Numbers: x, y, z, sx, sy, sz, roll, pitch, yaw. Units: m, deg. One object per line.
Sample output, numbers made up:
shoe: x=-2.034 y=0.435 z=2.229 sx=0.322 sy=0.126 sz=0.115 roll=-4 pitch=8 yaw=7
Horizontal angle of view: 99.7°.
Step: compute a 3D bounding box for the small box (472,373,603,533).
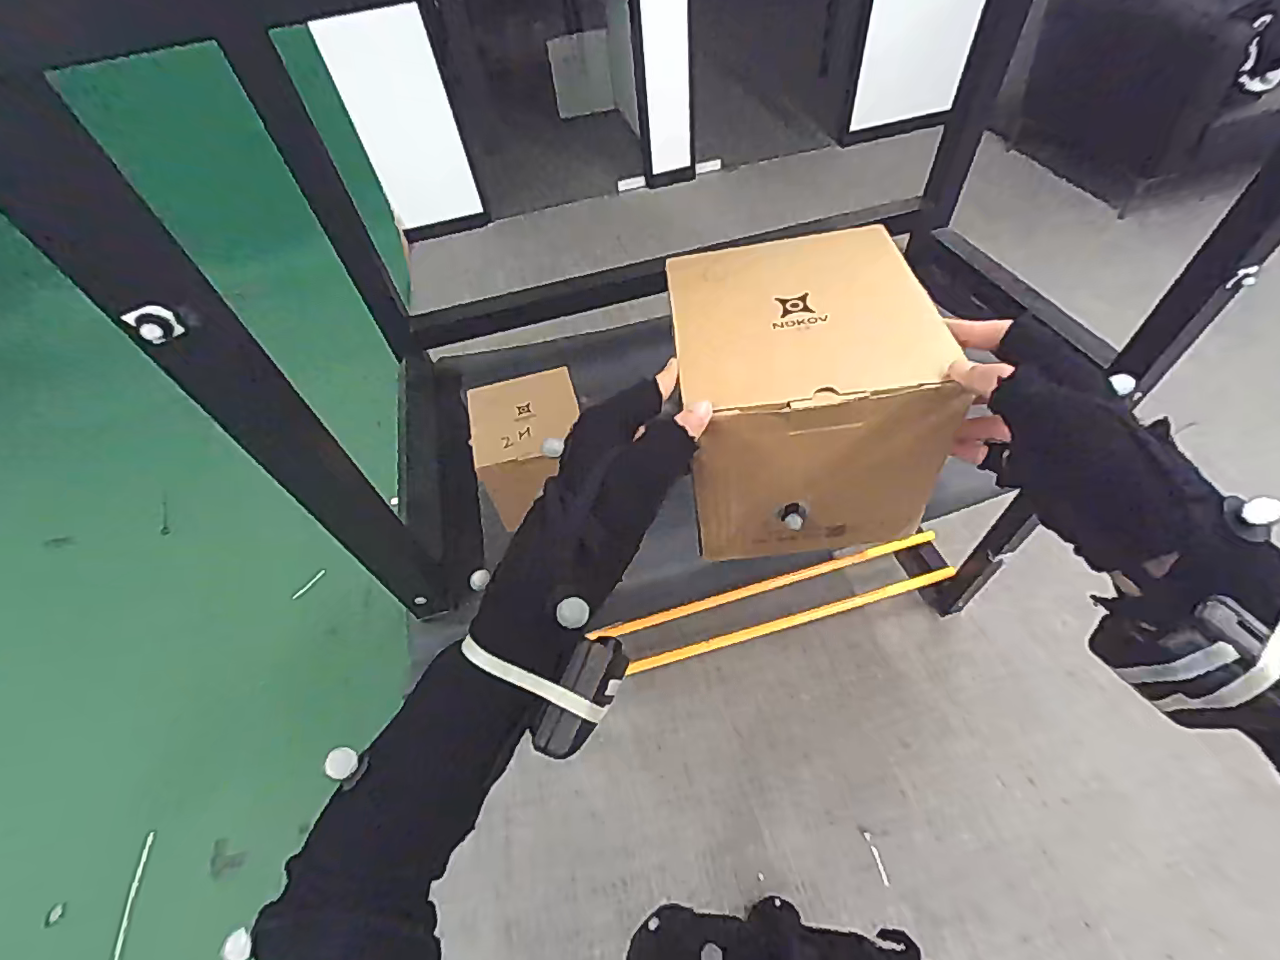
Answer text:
small box: x=-0.165 y=-0.042 z=0.883 sx=0.168 sy=0.176 sz=0.179 roll=-15 pitch=52 yaw=-5
